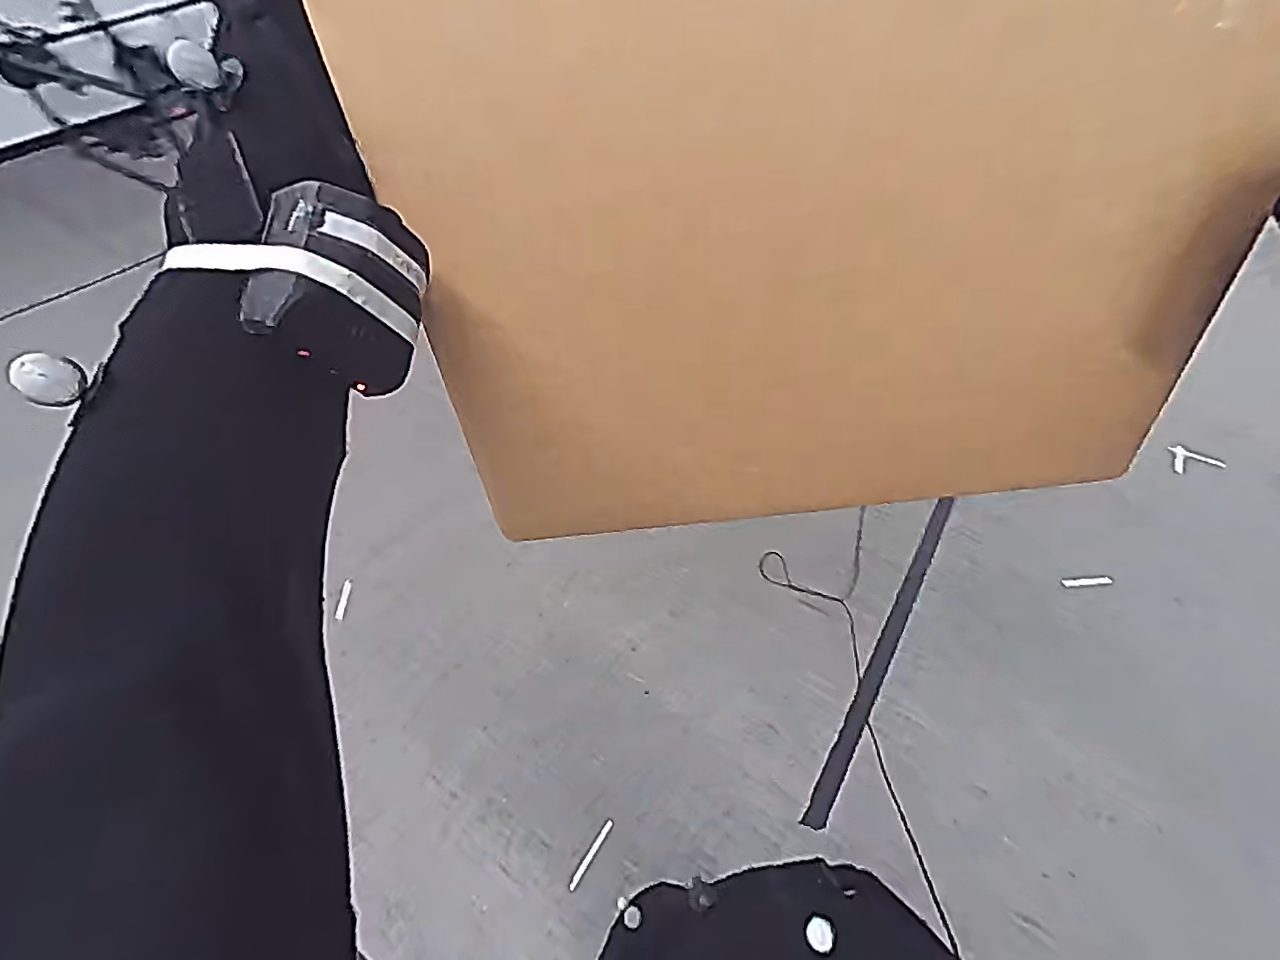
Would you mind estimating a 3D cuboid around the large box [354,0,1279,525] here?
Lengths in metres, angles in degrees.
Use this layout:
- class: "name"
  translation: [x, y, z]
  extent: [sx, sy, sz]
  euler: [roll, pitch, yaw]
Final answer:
- class: "large box"
  translation: [0.089, -0.195, 0.391]
  extent: [0.408, 0.320, 0.320]
  euler: [-6, 38, 1]
